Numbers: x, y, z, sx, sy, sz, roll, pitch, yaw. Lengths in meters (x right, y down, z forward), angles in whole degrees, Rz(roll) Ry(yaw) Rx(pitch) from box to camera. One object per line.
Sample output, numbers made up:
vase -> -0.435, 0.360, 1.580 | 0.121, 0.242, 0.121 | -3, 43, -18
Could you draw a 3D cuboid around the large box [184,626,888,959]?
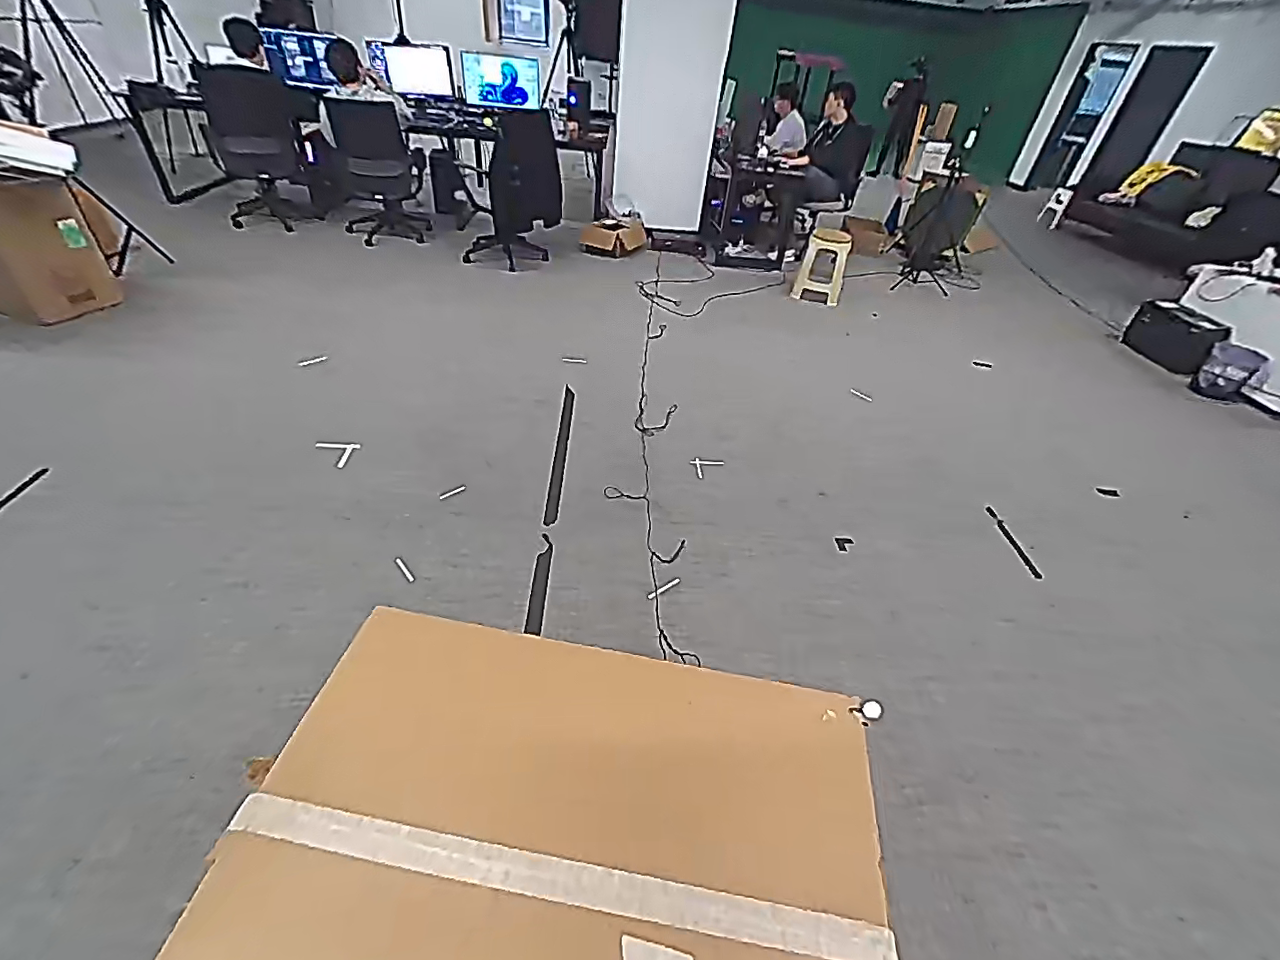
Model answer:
large box -> -0.060, 0.361, 0.436 | 0.408, 0.320, 0.320 | 10, 44, 3
